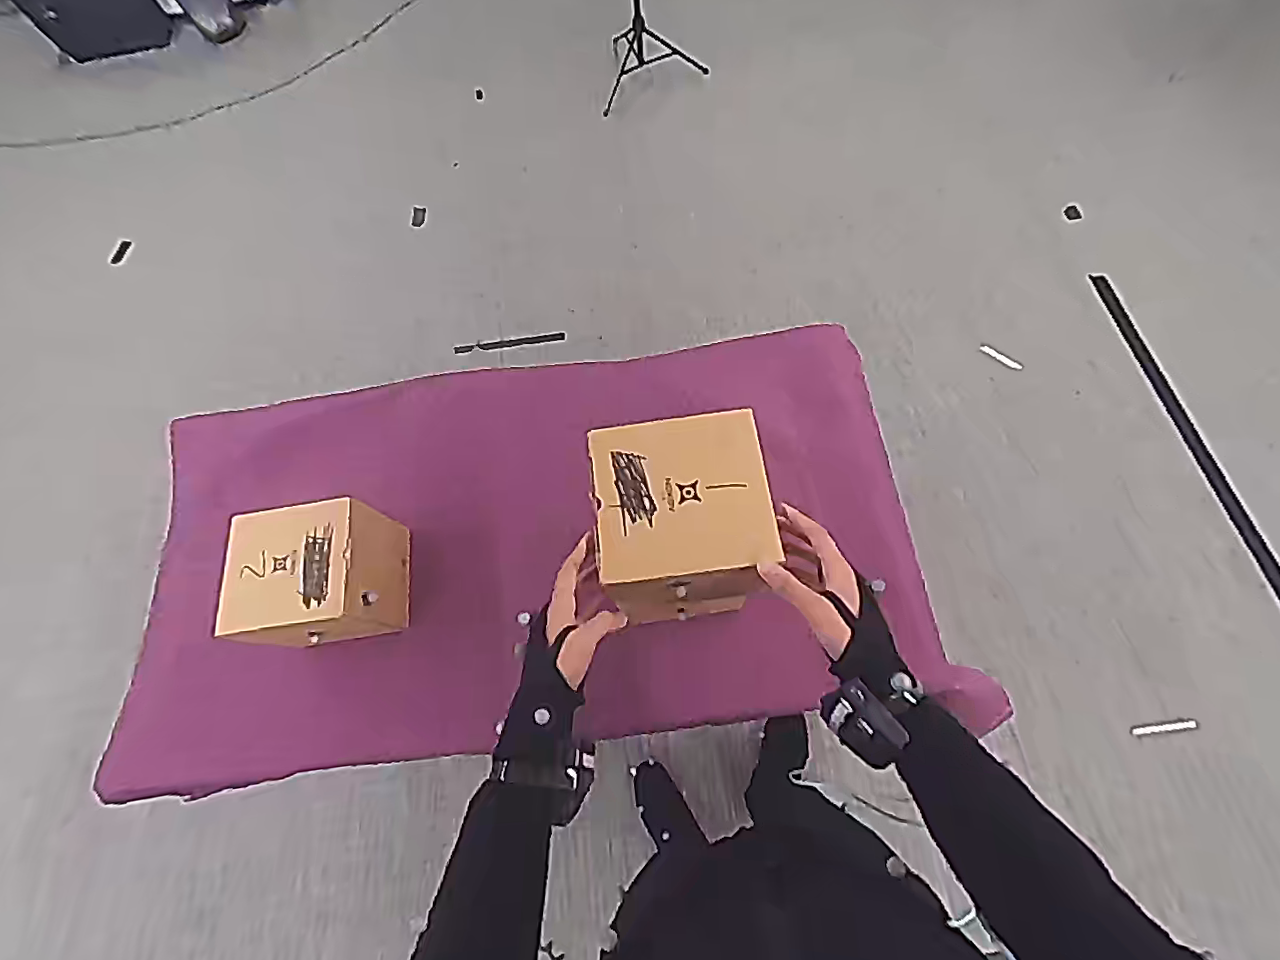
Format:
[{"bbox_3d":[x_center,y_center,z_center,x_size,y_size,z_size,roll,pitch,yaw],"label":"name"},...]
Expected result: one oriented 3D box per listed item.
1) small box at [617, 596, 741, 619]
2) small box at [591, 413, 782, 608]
[{"bbox_3d":[0.052,0.097,0.767,0.168,0.176,0.179,-8,68,2],"label":"small box"},{"bbox_3d":[0.048,0.044,0.612,0.179,0.176,0.168,-7,68,2],"label":"small box"}]
